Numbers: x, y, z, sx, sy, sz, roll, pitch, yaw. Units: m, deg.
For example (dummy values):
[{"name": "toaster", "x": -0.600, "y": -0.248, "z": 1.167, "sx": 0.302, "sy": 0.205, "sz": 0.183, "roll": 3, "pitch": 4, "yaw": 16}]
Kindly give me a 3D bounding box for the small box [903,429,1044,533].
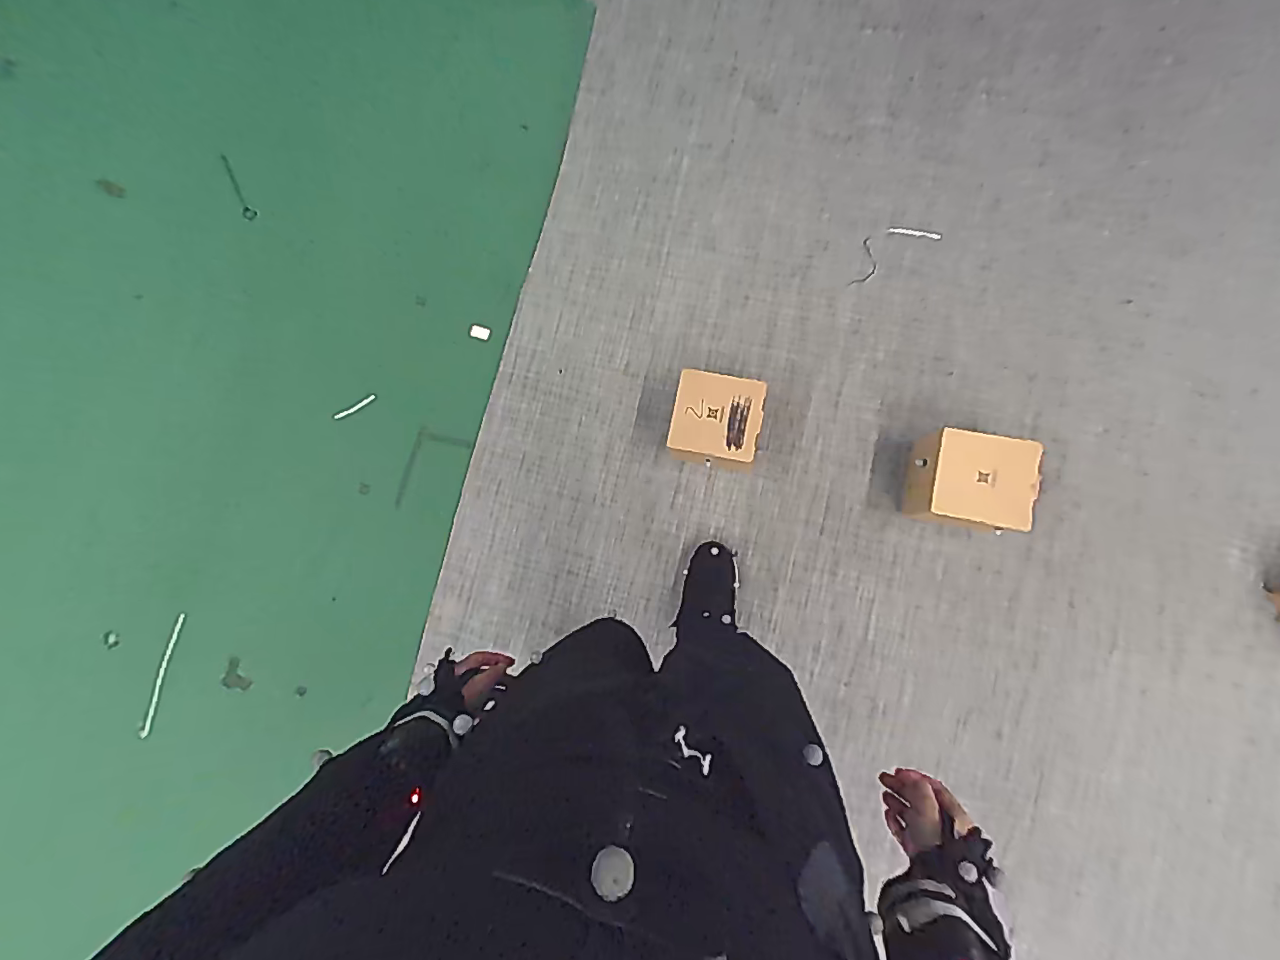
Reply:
[{"name": "small box", "x": 0.640, "y": 0.010, "z": 1.059, "sx": 0.179, "sy": 0.176, "sz": 0.168, "roll": 11, "pitch": 85, "yaw": 8}]
